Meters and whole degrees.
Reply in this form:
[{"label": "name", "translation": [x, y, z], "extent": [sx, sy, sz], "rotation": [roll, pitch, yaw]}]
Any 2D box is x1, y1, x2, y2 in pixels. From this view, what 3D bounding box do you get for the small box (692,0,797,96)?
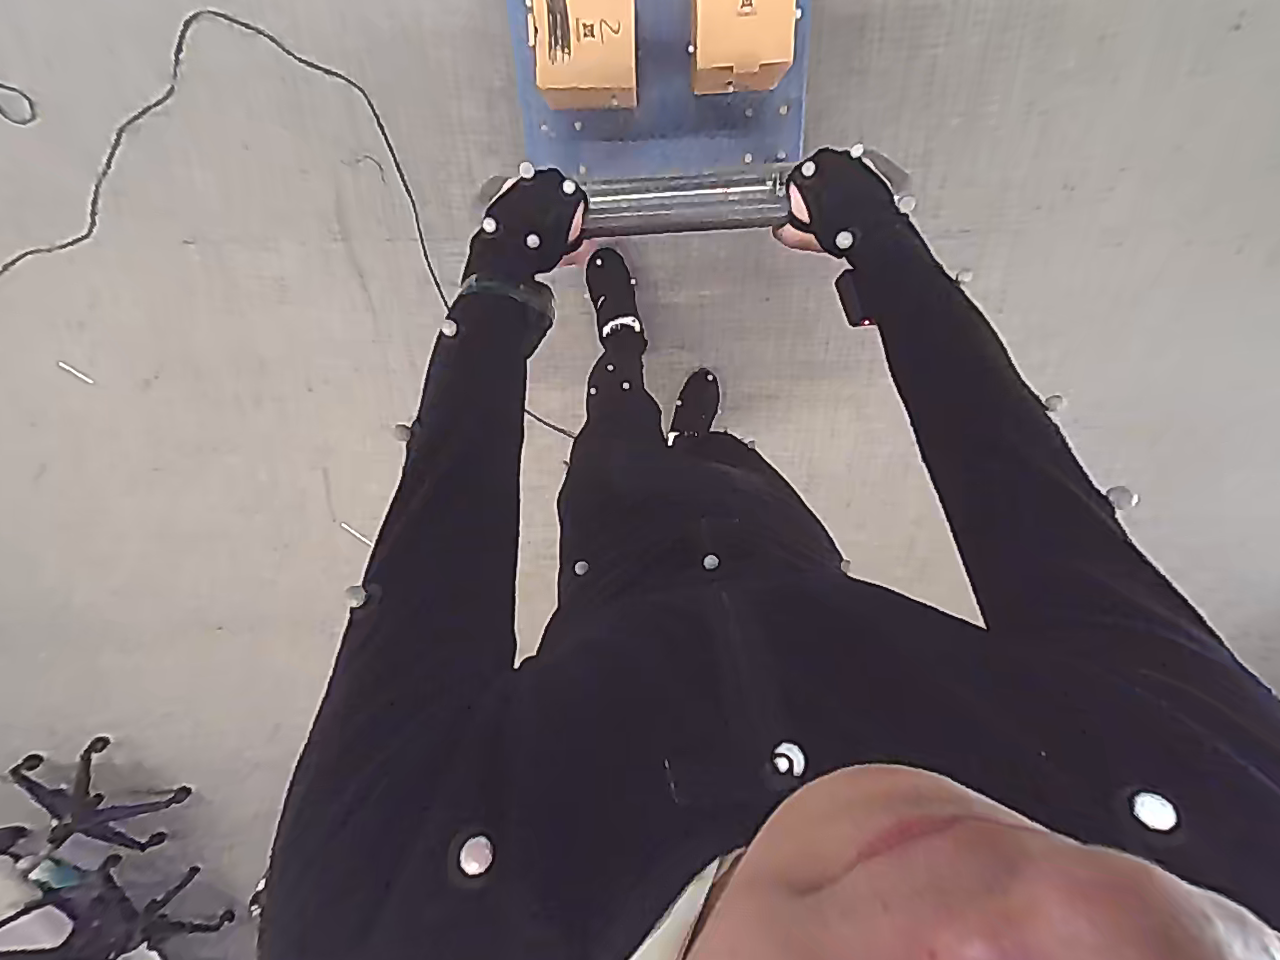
[{"label": "small box", "translation": [0.182, -0.825, 0.980], "extent": [0.168, 0.176, 0.179], "rotation": [-3, 114, 2]}]
